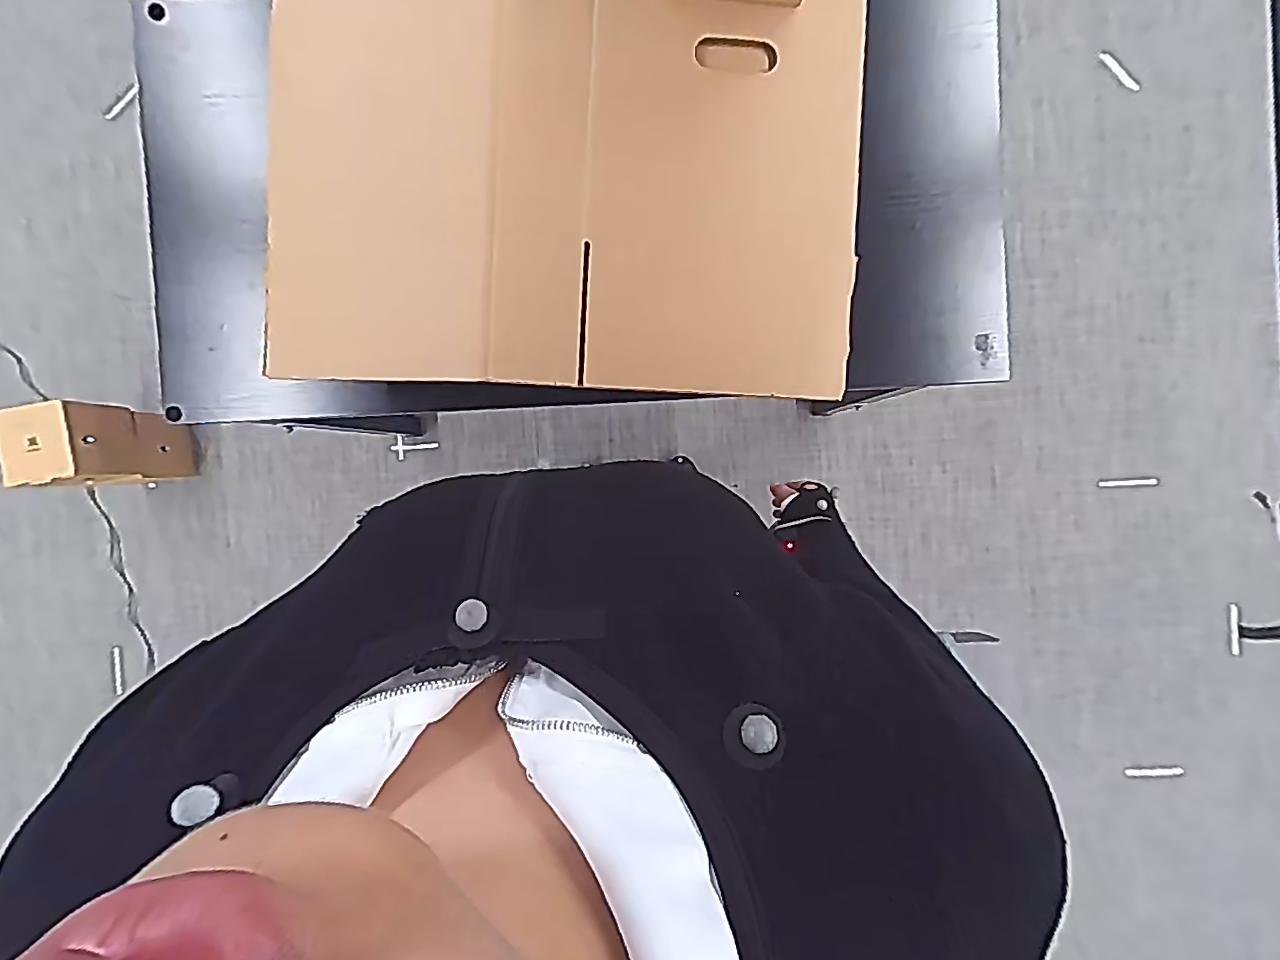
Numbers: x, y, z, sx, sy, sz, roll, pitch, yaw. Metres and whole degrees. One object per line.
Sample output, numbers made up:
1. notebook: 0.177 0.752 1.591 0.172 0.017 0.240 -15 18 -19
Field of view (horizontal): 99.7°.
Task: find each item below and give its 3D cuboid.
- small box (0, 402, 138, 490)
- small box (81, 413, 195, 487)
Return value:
1. small box: -1.351 -0.078 1.284 0.168 0.176 0.179 -10 90 1
2. small box: -1.345 -0.076 1.446 0.168 0.176 0.179 -7 92 2
